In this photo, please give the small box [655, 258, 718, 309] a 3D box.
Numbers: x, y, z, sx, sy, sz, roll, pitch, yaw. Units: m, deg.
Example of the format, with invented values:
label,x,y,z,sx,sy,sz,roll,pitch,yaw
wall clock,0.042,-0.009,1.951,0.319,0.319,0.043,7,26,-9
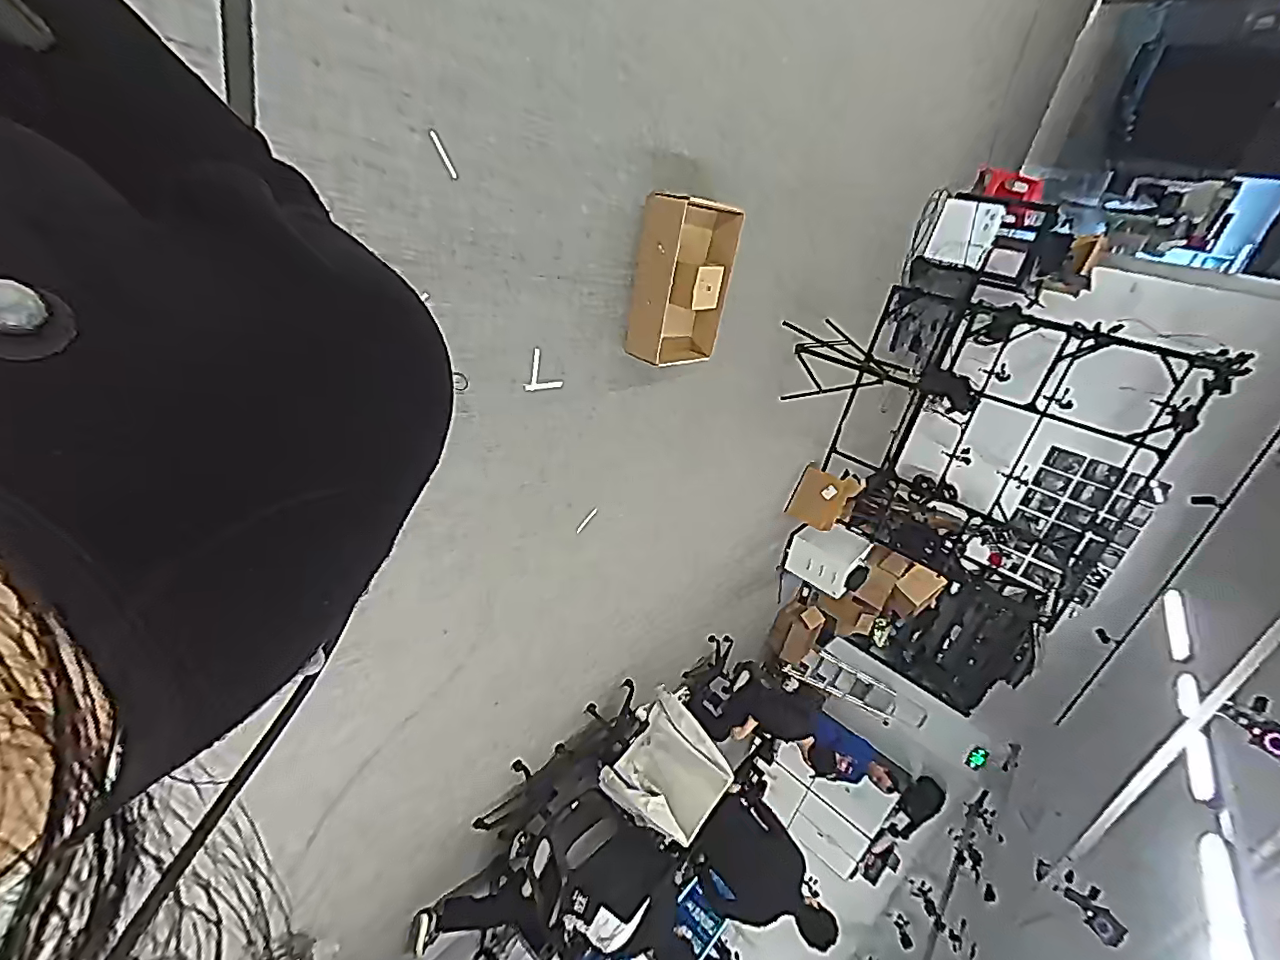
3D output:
label,x,y,z,sx,sy,sz,roll,pitch,yaw
small box,0.187,-0.801,2.196,0.179,0.176,0.168,-22,131,-44
